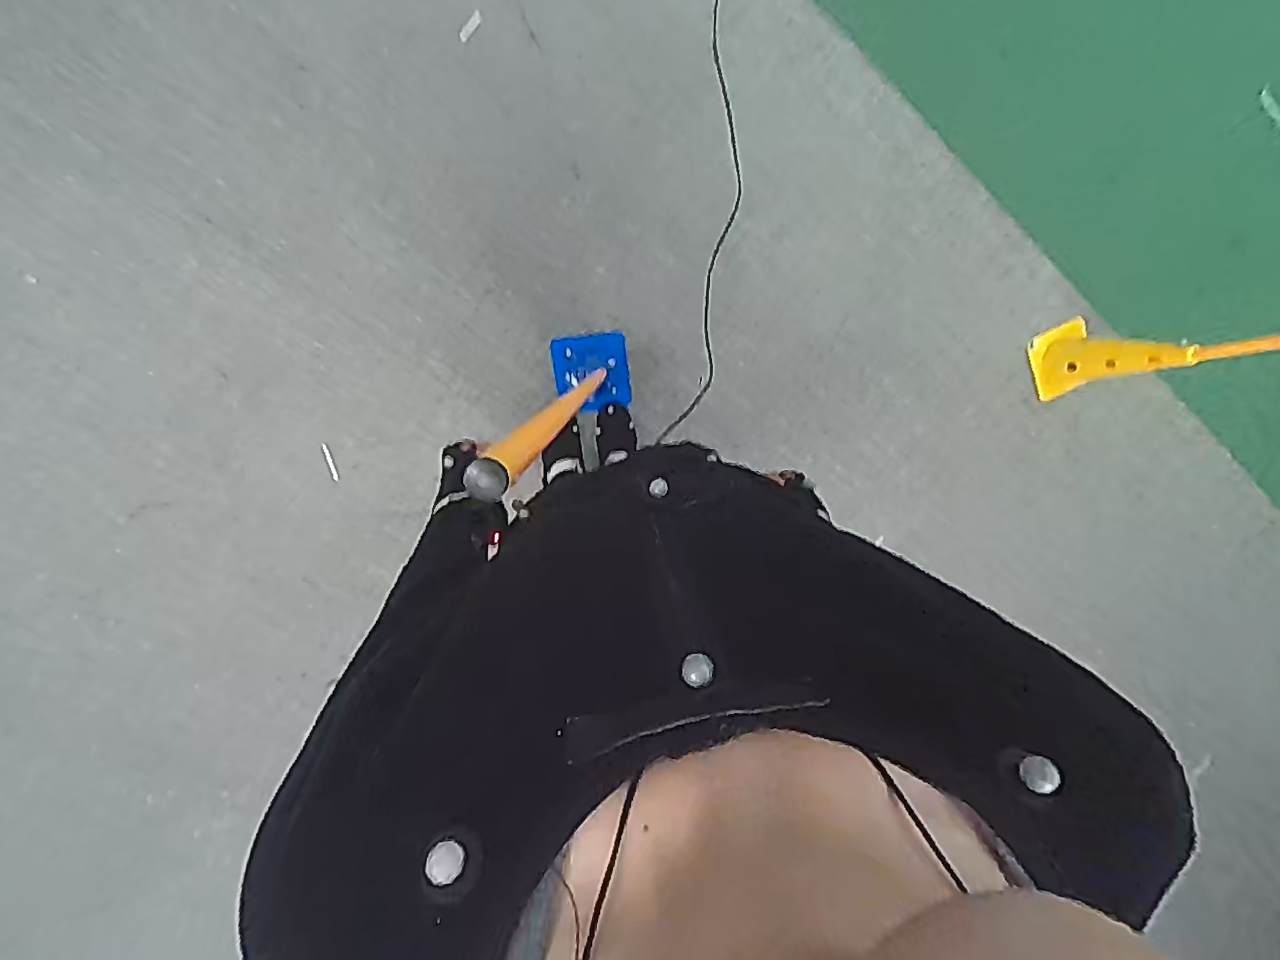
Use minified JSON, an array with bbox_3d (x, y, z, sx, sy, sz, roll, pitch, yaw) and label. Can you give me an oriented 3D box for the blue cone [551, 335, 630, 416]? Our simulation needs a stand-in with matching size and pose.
[{"bbox_3d":[-0.105,-0.238,1.256,0.193,0.380,0.192,-9,103,-5],"label":"blue cone"}]
